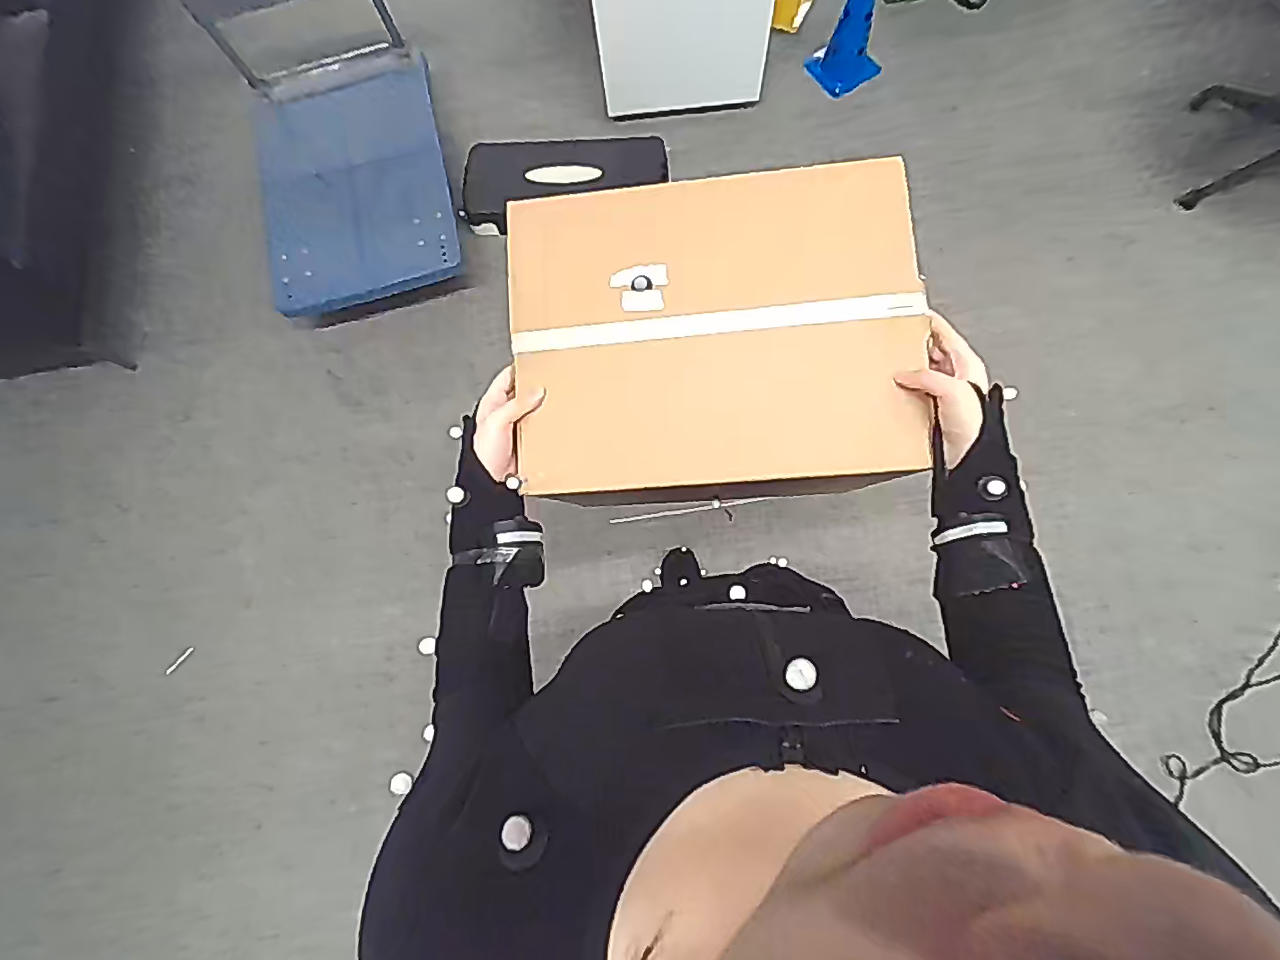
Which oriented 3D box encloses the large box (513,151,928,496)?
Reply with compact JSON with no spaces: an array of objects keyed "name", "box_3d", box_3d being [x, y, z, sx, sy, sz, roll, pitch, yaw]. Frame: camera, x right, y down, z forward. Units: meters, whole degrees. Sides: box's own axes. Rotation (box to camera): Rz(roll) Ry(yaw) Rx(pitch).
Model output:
[{"name":"large box","box_3d":[0.089,-0.151,0.697,0.408,0.320,0.320,-4,84,7]}]
